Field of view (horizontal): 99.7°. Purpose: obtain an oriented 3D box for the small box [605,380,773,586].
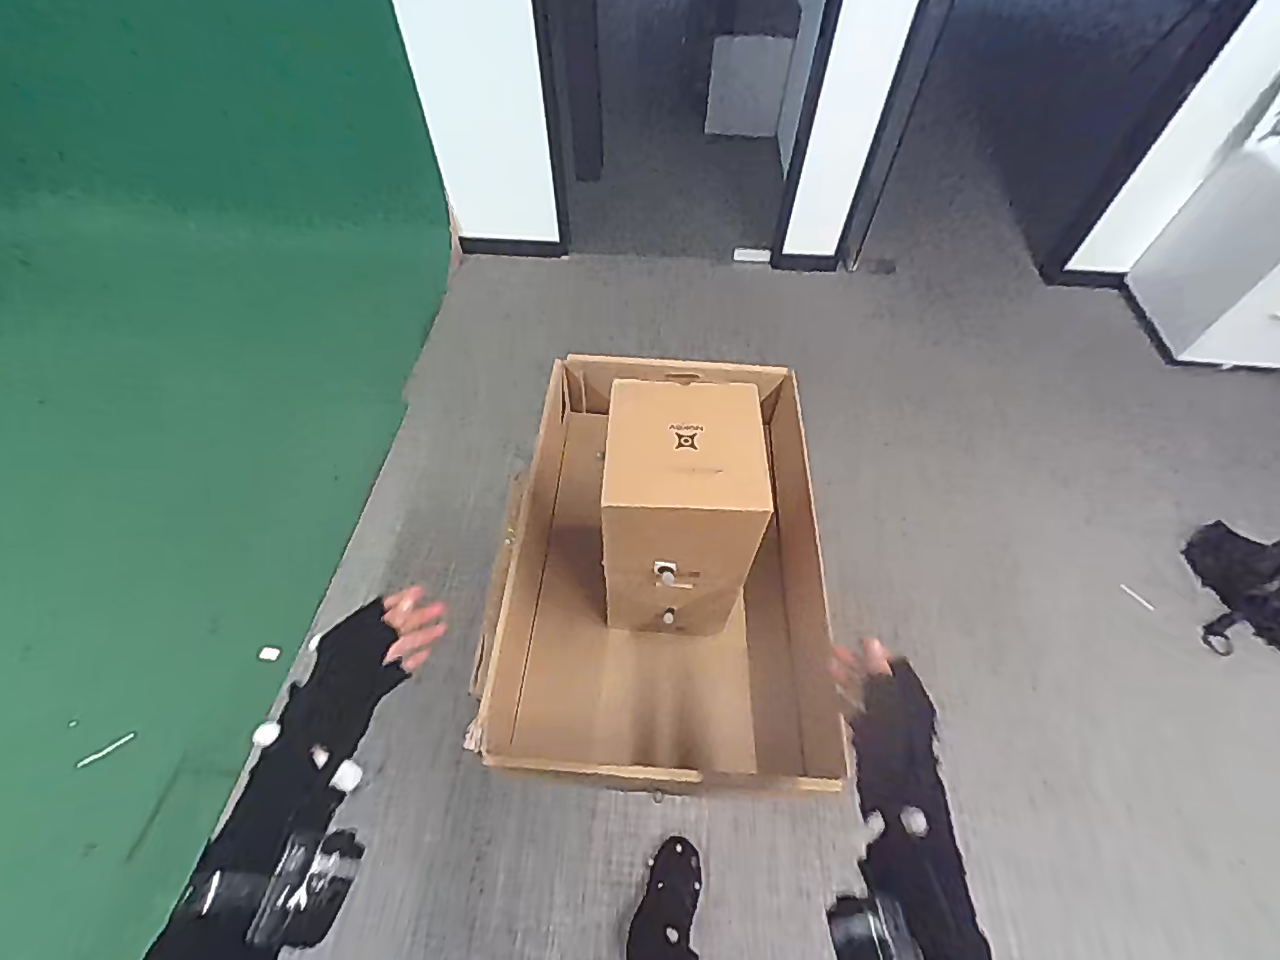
[{"bbox_3d":[0.048,0.006,0.631,0.168,0.176,0.179,2,55,0],"label":"small box"}]
